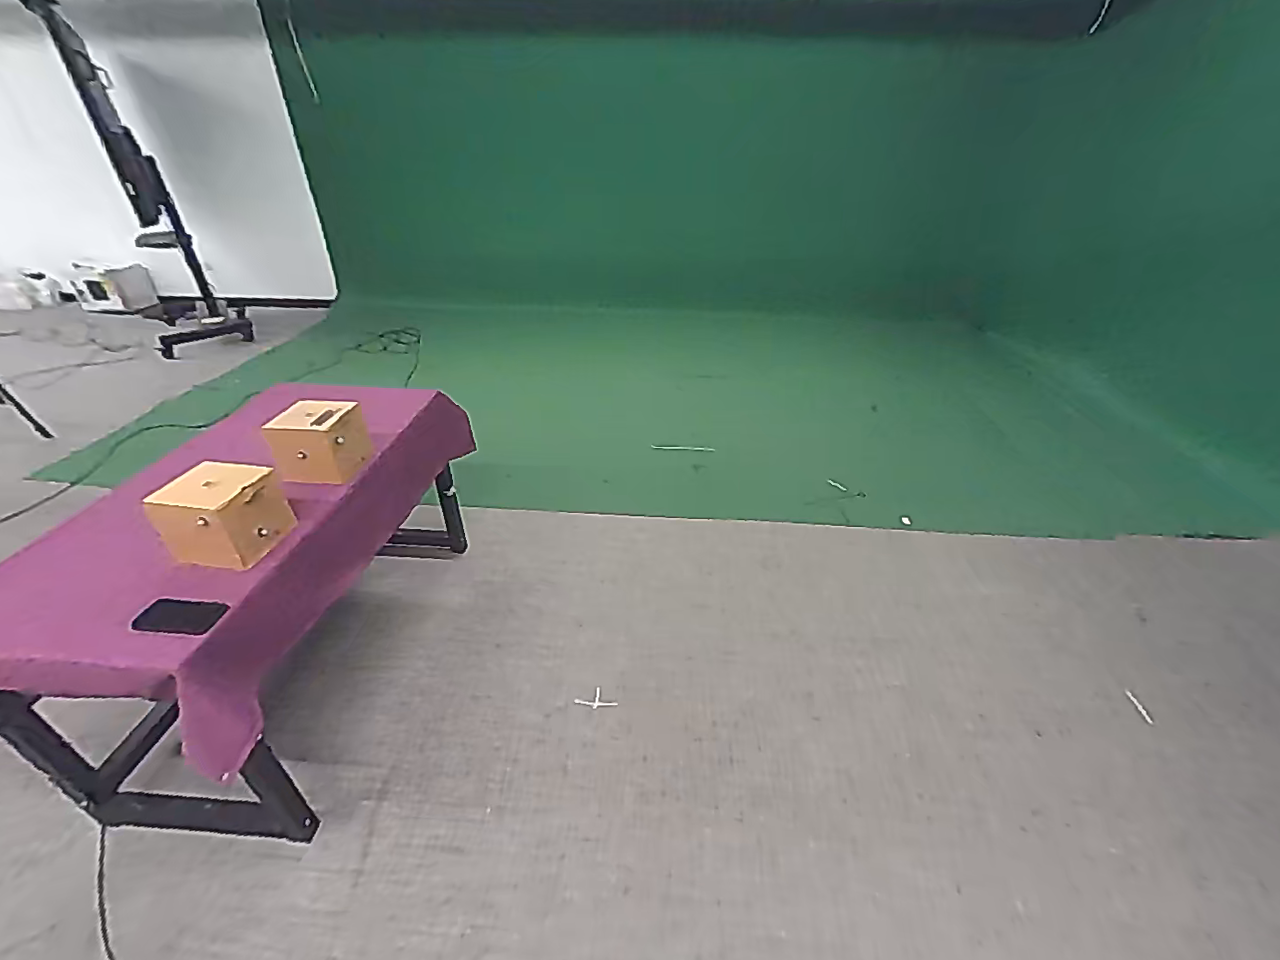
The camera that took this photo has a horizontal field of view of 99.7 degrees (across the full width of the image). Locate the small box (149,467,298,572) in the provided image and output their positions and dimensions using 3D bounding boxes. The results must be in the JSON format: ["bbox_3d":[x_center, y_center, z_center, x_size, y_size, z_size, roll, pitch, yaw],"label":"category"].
[{"bbox_3d":[-0.922,0.089,1.216,0.179,0.176,0.168,5,33,7],"label":"small box"}]
